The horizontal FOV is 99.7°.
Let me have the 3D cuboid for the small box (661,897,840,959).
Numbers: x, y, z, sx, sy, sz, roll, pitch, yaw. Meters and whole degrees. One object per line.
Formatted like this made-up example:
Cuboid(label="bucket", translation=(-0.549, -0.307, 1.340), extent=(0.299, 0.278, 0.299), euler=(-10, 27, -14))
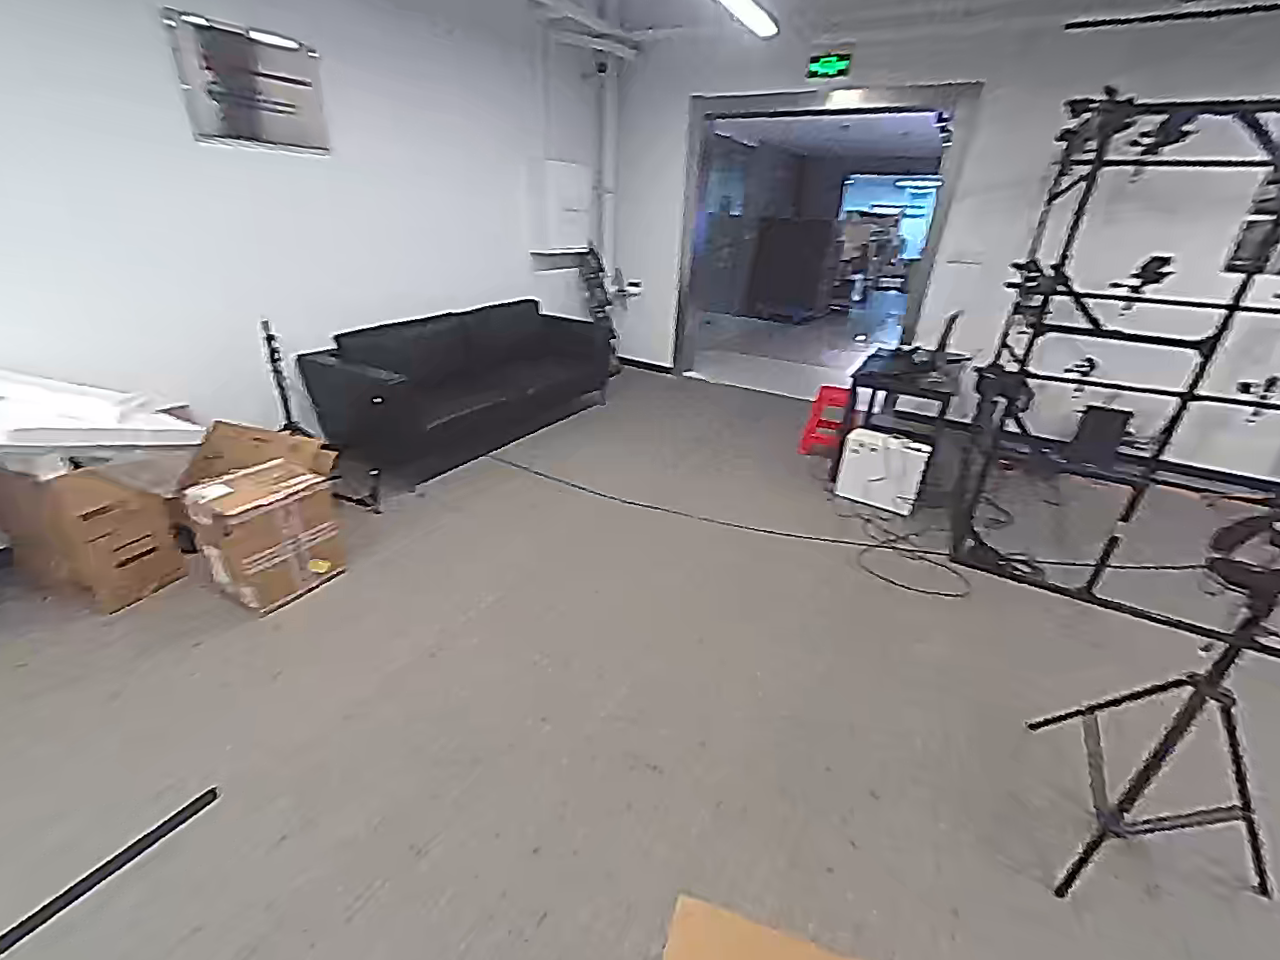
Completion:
Cuboid(label="small box", translation=(0.090, 0.469, 0.411), extent=(0.179, 0.176, 0.168), euler=(8, 38, 18))
